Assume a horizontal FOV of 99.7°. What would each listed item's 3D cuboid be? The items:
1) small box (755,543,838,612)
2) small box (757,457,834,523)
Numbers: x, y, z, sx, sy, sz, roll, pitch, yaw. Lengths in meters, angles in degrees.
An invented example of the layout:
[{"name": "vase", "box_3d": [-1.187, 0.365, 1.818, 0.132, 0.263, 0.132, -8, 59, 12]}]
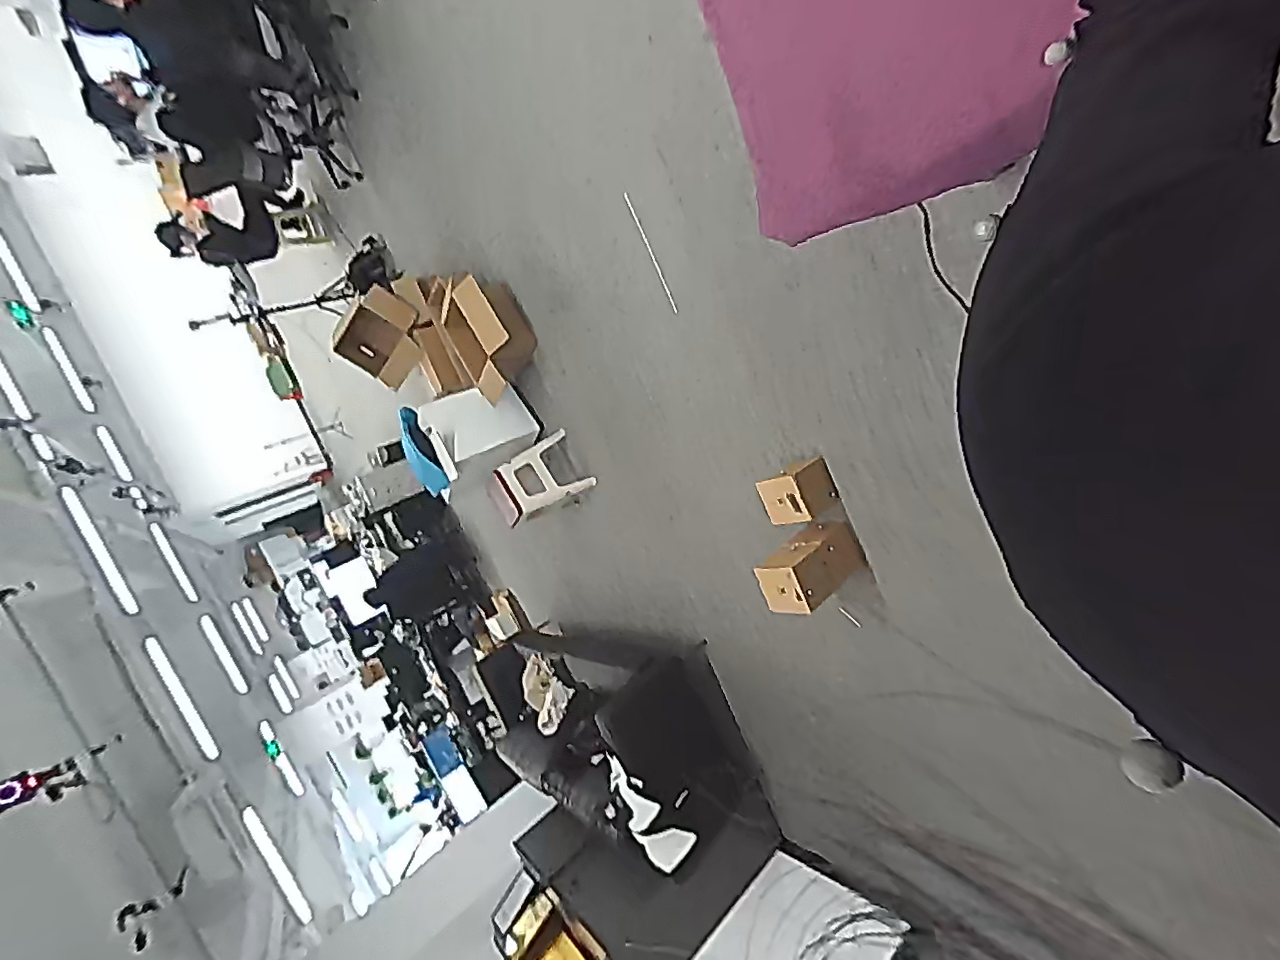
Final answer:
[{"name": "small box", "box_3d": [0.522, 0.320, 1.801, 0.179, 0.176, 0.168, -15, 100, 57]}, {"name": "small box", "box_3d": [0.543, 0.033, 1.865, 0.179, 0.176, 0.168, -17, 99, 57]}]
